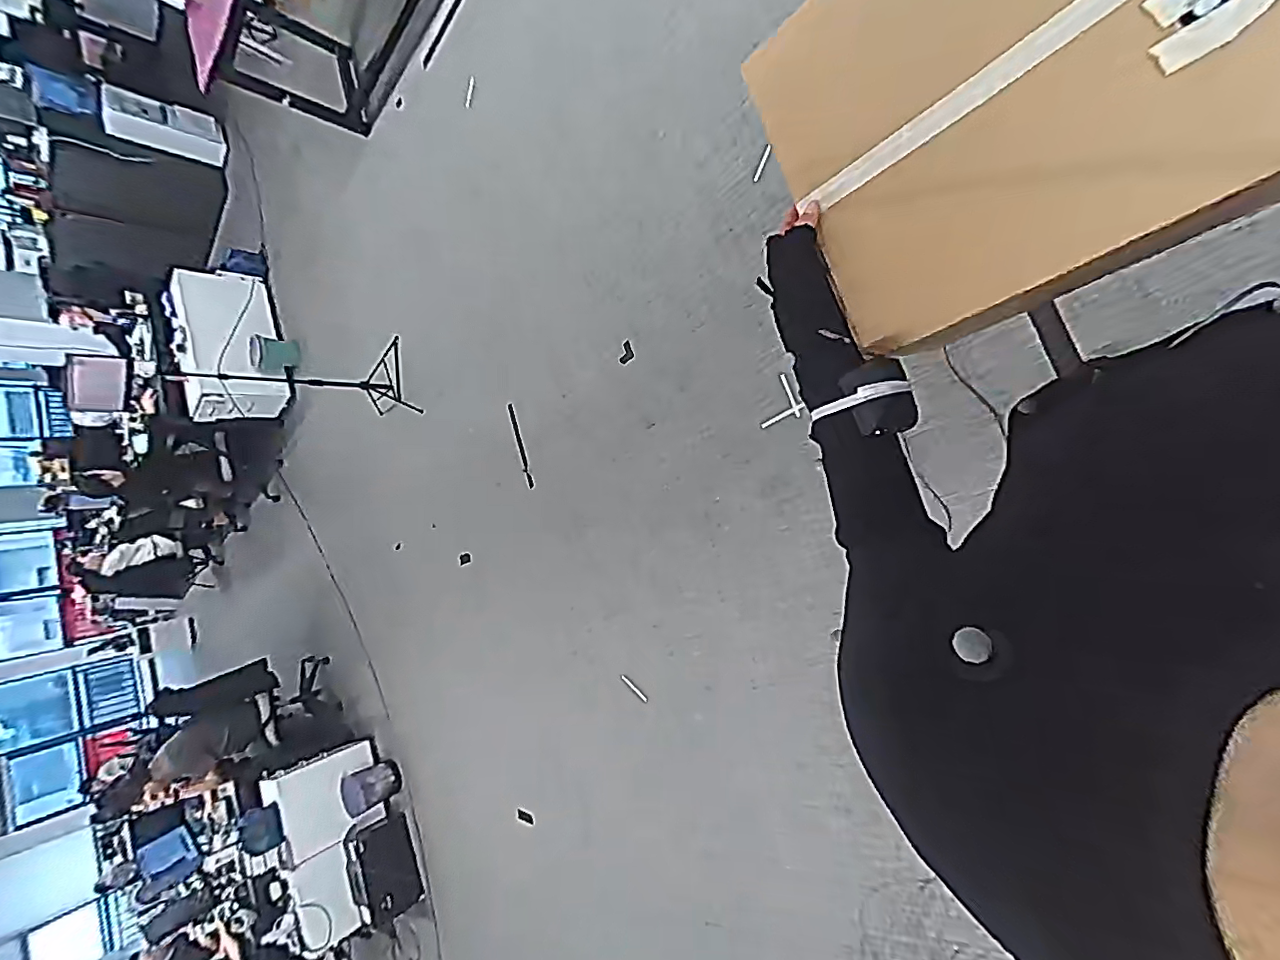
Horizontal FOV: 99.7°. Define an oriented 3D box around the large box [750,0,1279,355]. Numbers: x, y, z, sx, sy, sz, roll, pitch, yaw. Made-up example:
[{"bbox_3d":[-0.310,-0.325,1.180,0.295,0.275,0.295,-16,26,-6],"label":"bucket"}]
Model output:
[{"bbox_3d":[0.388,-0.350,0.513,0.408,0.320,0.320,-25,88,39],"label":"large box"}]
